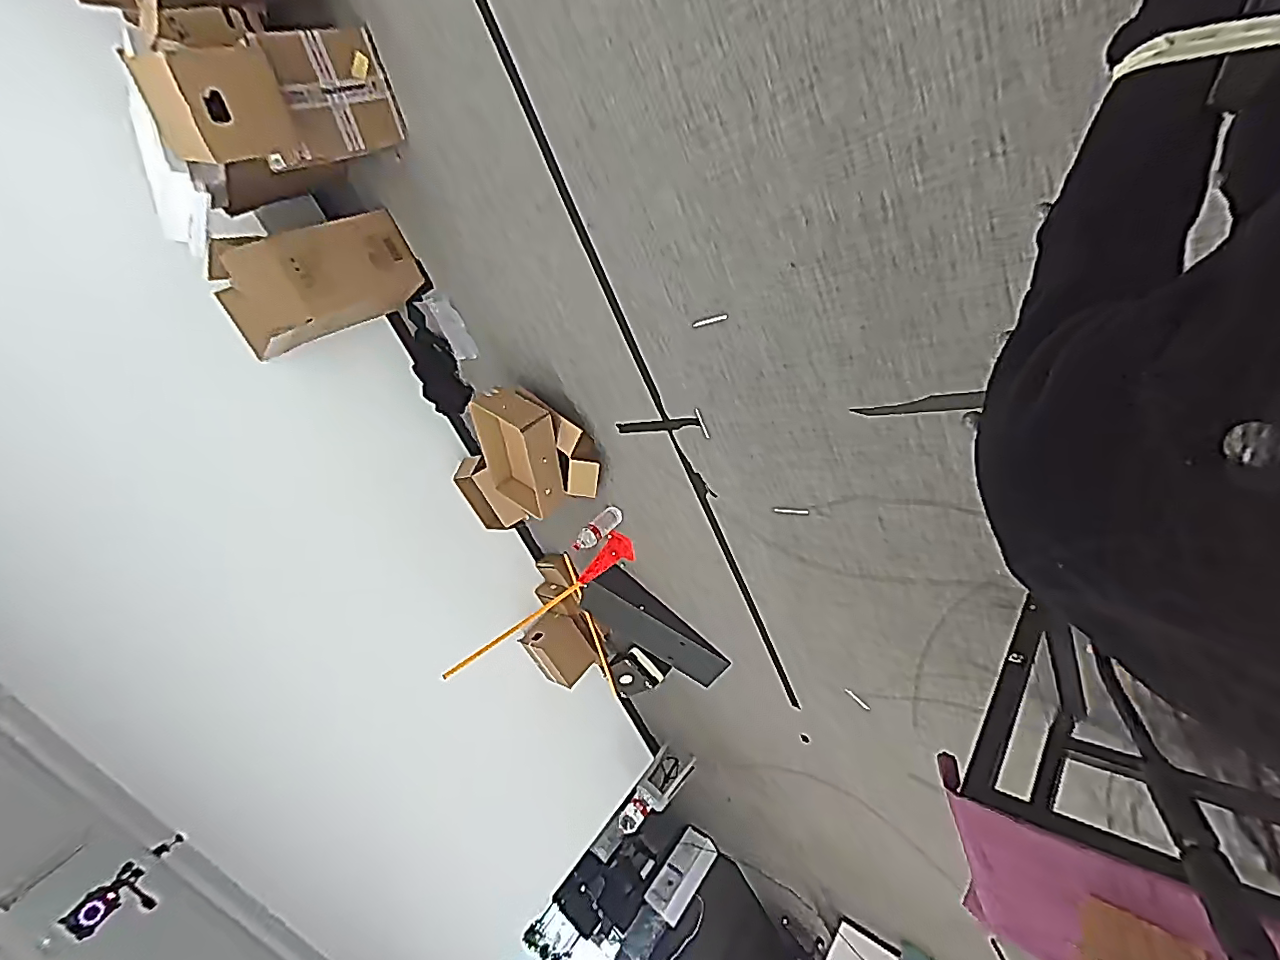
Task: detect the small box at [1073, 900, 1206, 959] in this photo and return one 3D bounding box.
[{"bbox_3d":[0.975,0.976,1.059,0.179,0.176,0.168,3,126,48],"label":"small box"}]
